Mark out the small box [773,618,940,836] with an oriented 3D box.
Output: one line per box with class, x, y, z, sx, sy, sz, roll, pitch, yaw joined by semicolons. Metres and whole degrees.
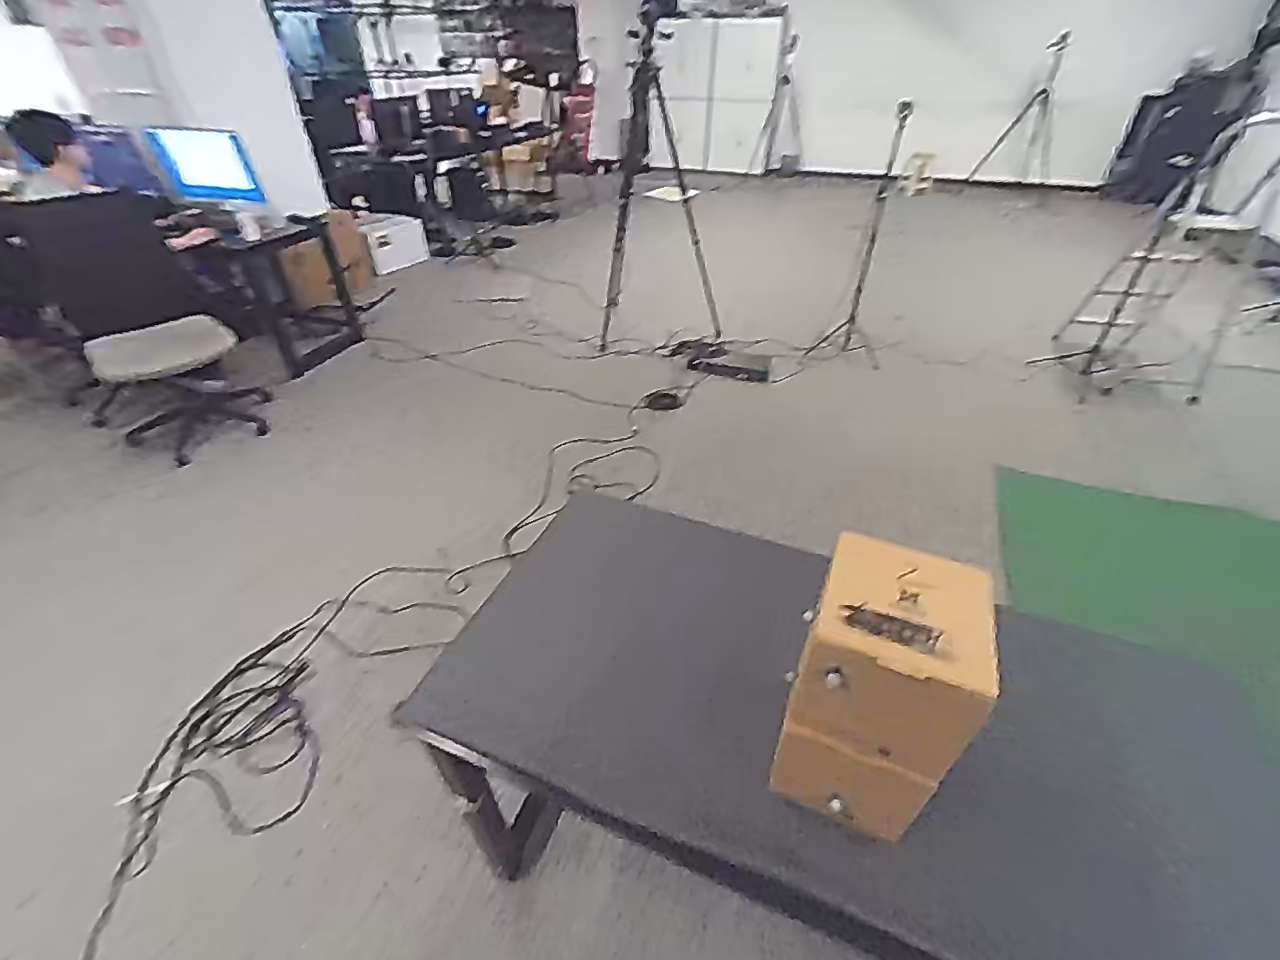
small box;0.284;0.325;0.722;0.168;0.176;0.179;15;40;19
